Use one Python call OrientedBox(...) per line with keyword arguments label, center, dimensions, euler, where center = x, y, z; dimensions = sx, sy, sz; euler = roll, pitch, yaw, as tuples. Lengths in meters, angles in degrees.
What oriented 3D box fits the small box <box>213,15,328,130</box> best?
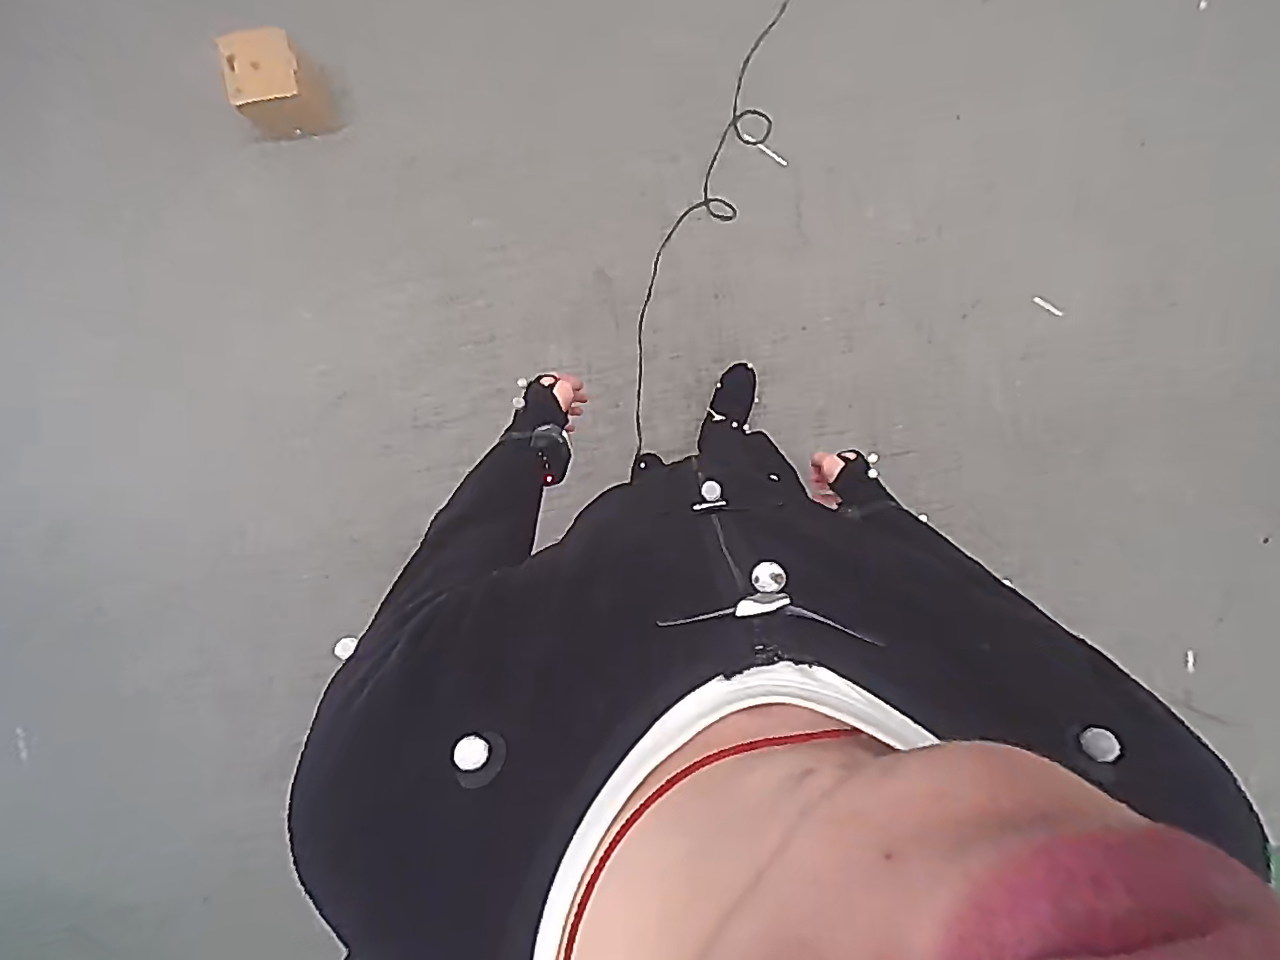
OrientedBox(label="small box", center=(-0.934, -1.037, 1.388), dimensions=(0.179, 0.176, 0.168), euler=(-8, 95, 1))
